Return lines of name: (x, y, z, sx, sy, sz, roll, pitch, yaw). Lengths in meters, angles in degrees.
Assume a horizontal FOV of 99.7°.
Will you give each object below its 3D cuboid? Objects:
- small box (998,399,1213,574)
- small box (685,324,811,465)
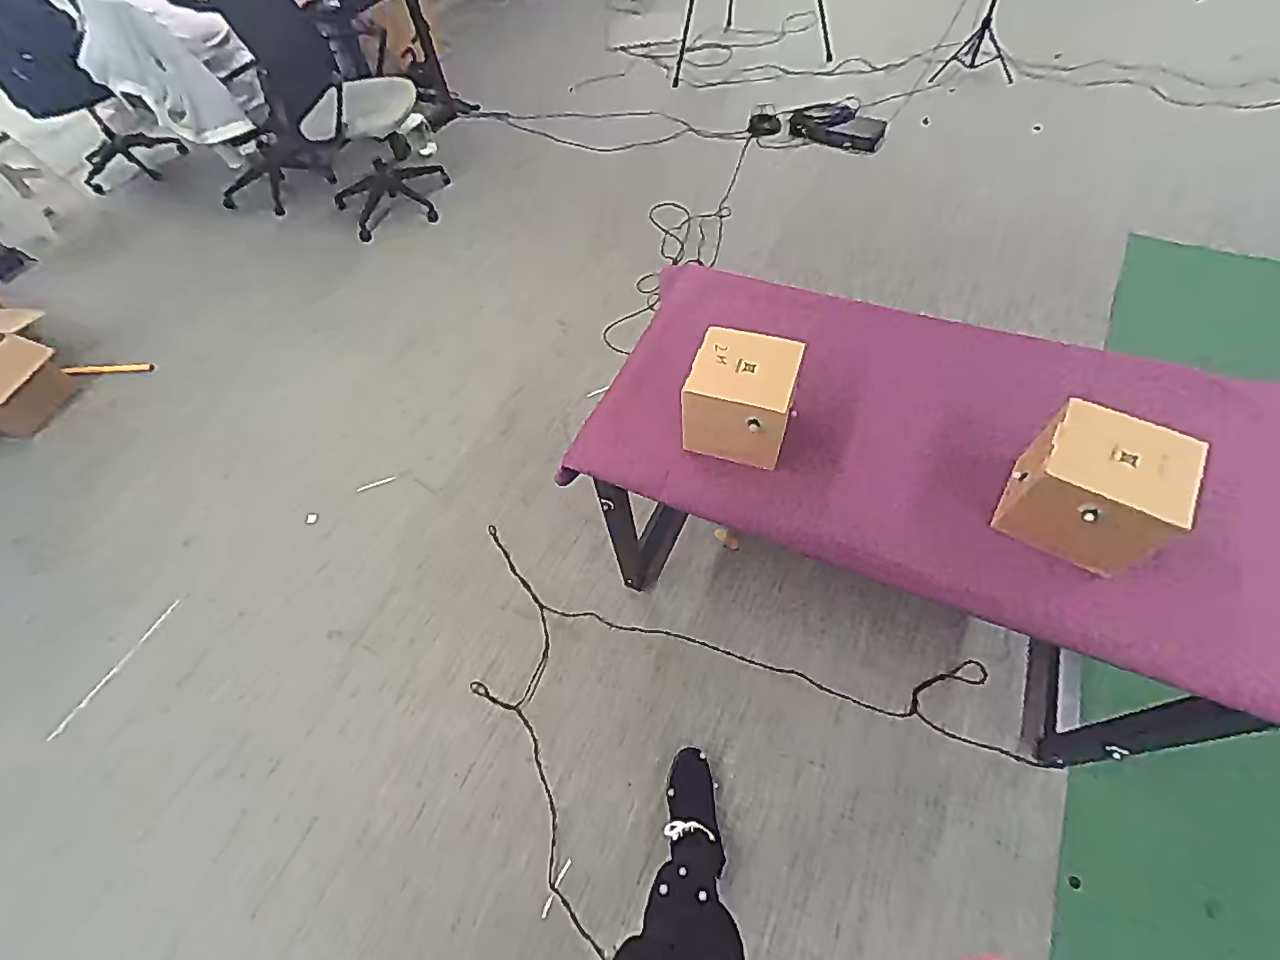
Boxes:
small box: (0.687, 0.015, 0.818, 0.179, 0.176, 0.168, 30, 65, 22)
small box: (0.190, -0.149, 0.974, 0.179, 0.176, 0.168, 15, 60, 15)
